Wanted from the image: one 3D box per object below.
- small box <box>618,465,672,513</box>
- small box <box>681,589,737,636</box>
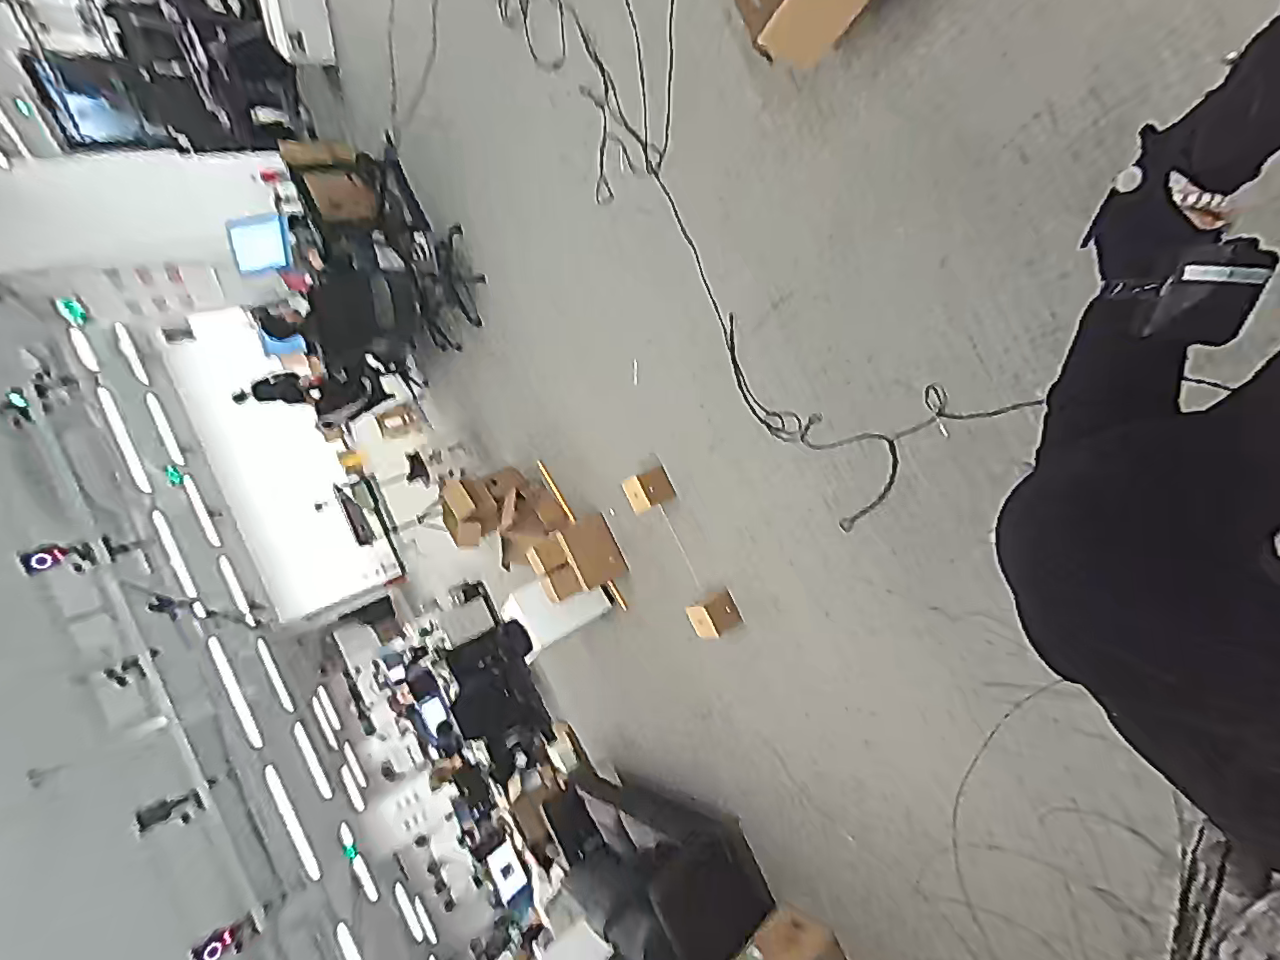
[{"bbox_3d":[0.027,0.039,2.690,0.168,0.176,0.179,-31,86,57],"label":"small box"},{"bbox_3d":[0.339,0.648,2.644,0.179,0.176,0.168,-31,85,58],"label":"small box"}]
